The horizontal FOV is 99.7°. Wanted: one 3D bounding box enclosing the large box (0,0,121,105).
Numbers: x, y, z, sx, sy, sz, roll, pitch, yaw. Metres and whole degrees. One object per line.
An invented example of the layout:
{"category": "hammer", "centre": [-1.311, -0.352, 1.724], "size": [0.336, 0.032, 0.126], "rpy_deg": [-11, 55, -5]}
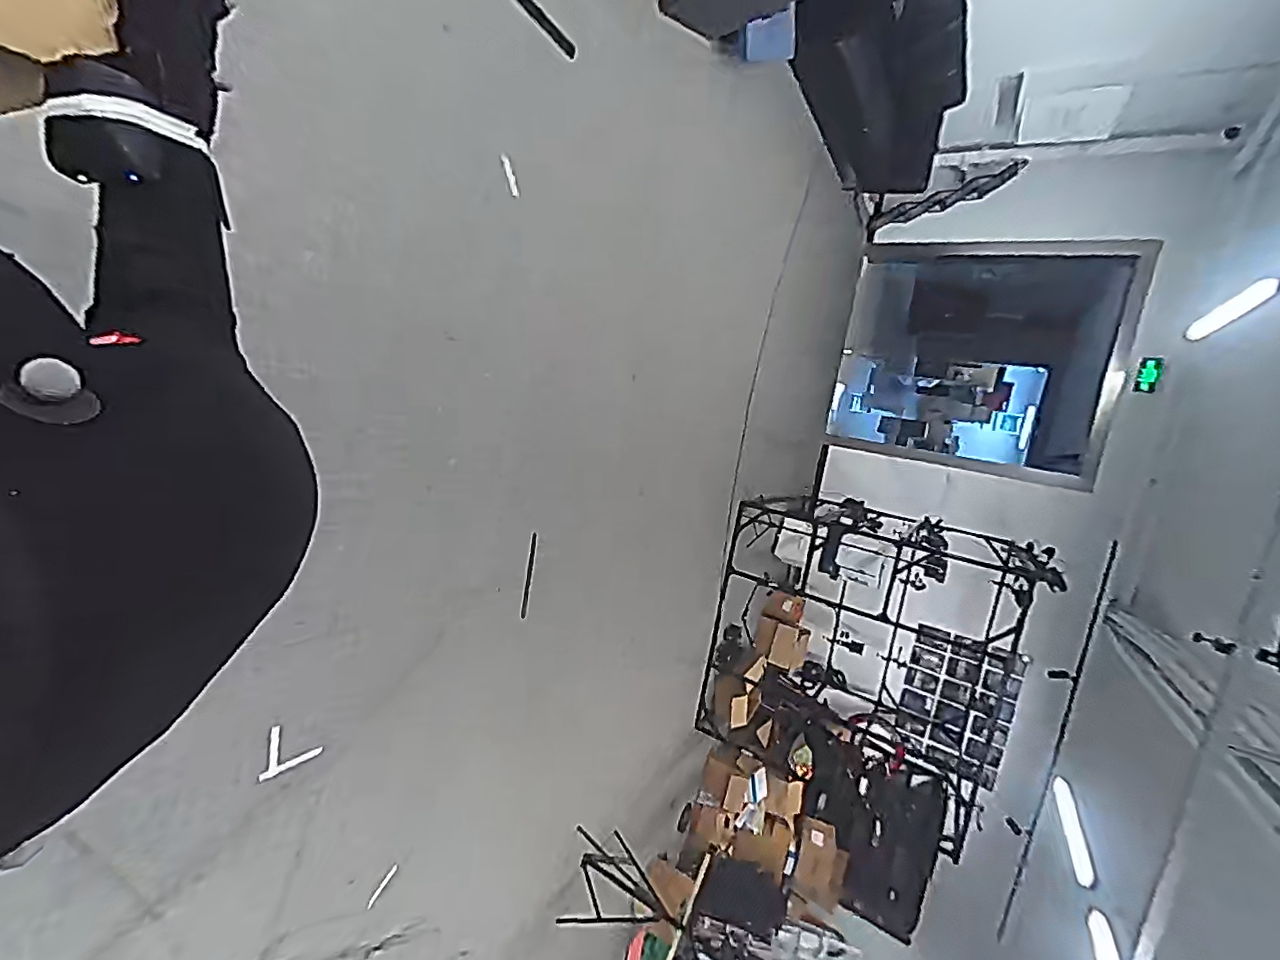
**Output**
{"category": "large box", "centre": [-0.561, -0.434, 0.239], "size": [0.408, 0.320, 0.320], "rpy_deg": [-10, 114, -61]}
